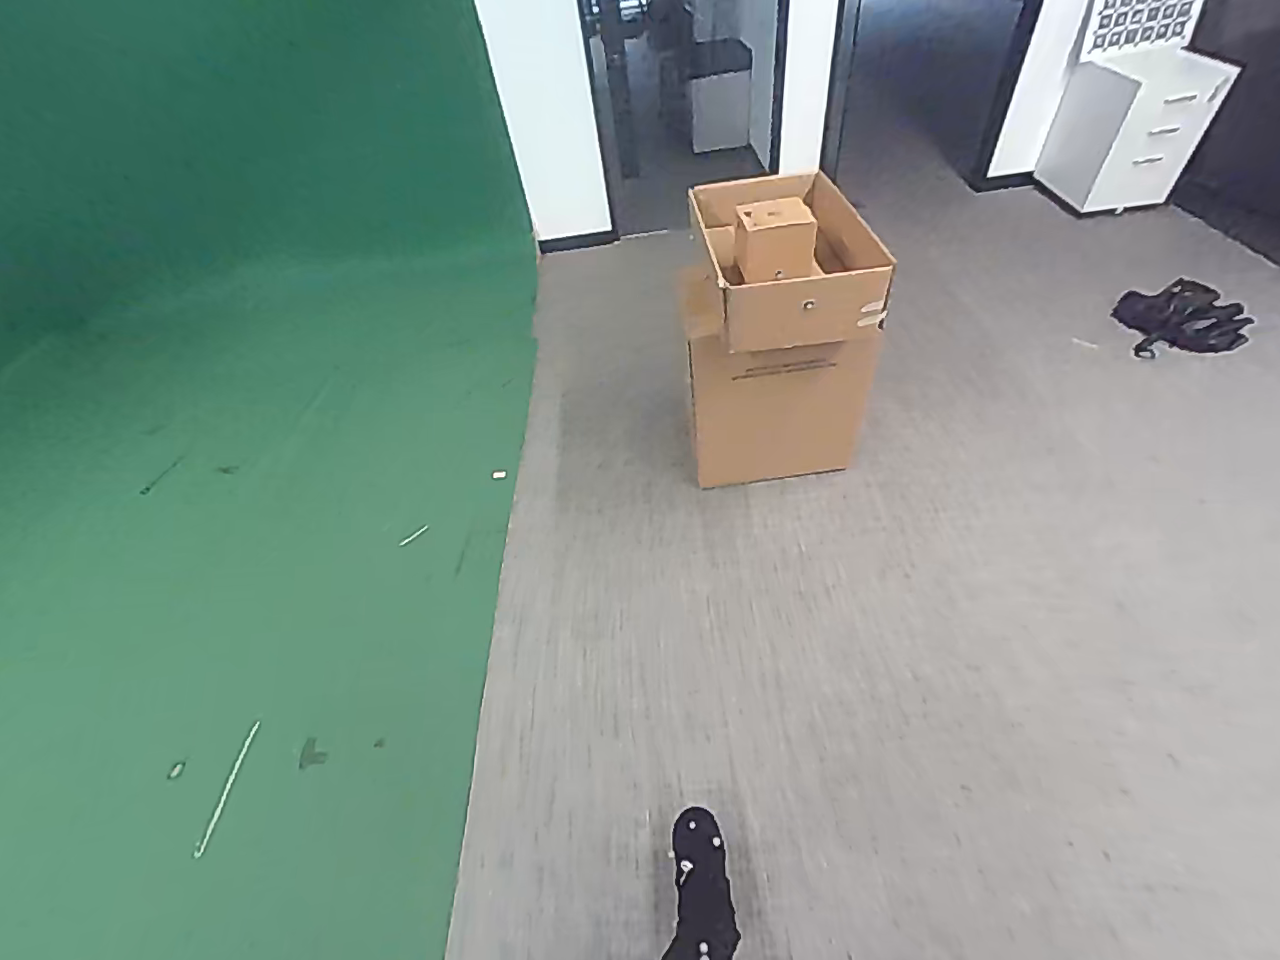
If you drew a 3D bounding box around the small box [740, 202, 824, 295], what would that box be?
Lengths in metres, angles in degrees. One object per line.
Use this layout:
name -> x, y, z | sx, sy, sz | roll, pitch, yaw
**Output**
small box -> 0.370, -0.617, 1.446 | 0.179, 0.176, 0.168 | -7, 46, 1
